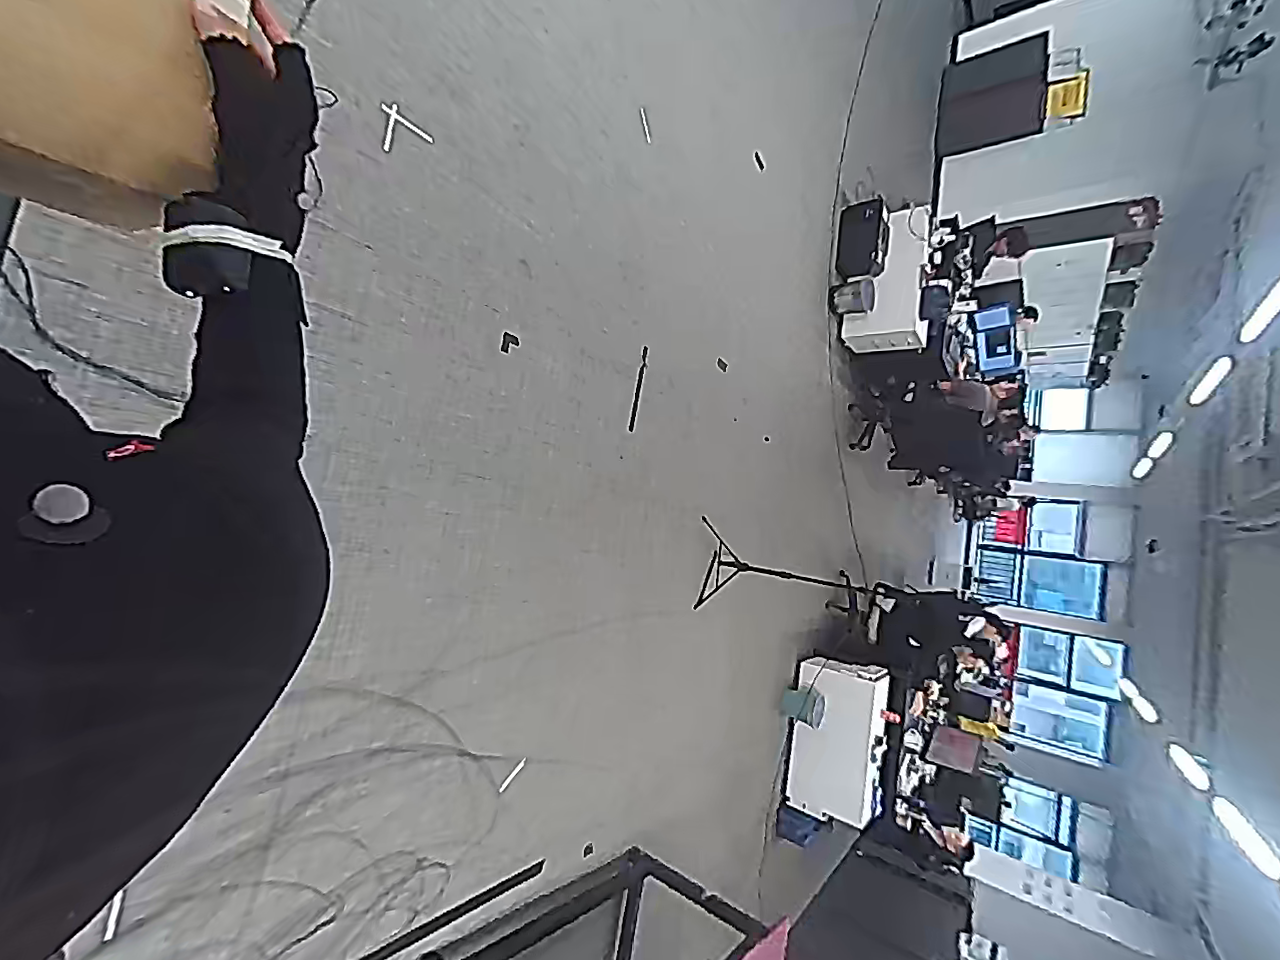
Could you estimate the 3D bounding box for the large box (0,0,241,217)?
[{"bbox_3d":[-0.553,-0.417,0.356,0.408,0.320,0.320,5,100,-54],"label":"large box"}]
